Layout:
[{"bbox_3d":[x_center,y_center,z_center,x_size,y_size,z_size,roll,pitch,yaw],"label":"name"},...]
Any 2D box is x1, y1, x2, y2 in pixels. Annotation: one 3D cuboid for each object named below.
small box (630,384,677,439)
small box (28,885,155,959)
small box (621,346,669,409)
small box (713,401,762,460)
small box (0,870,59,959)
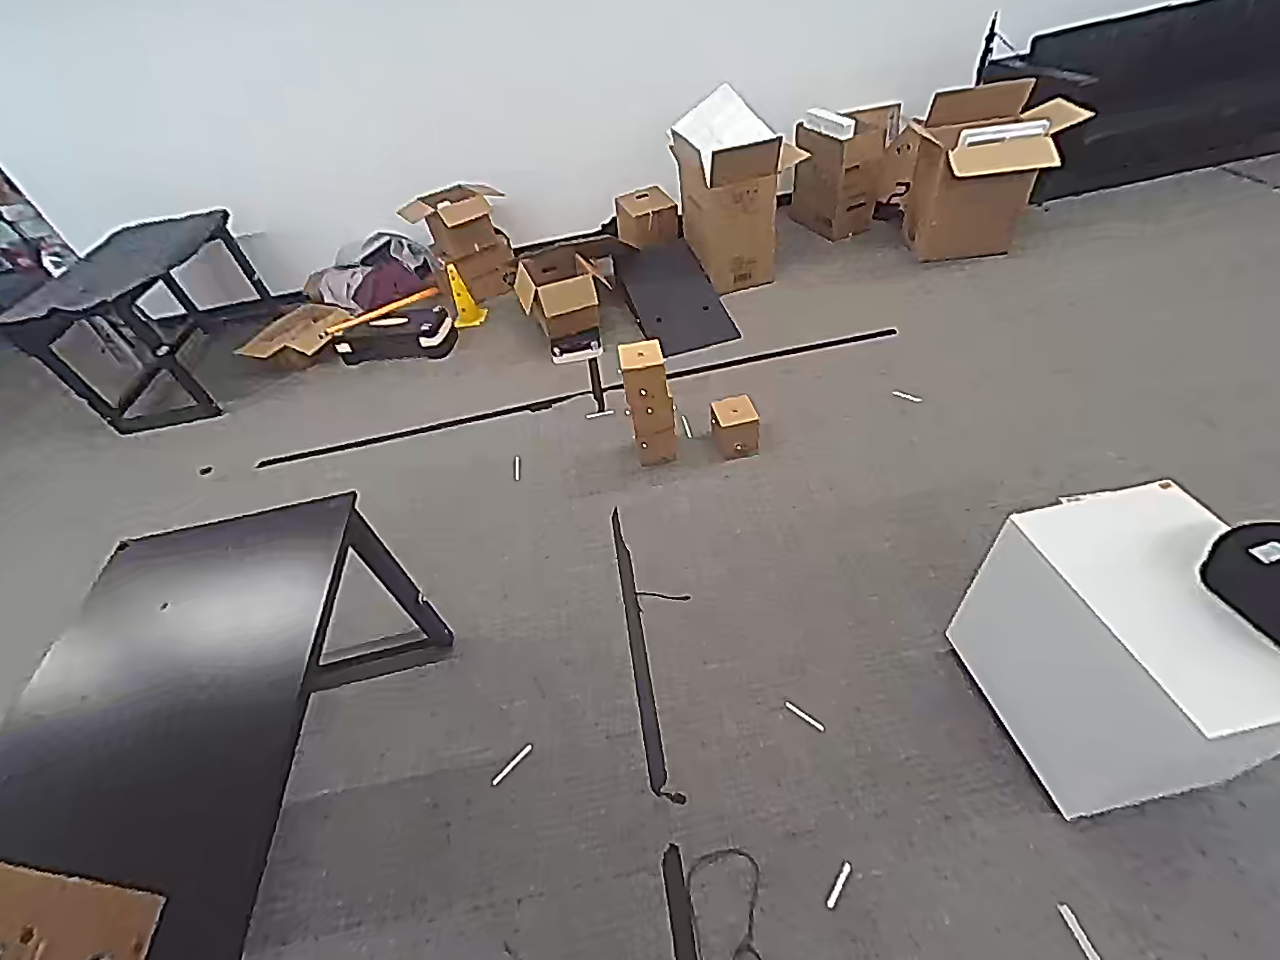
[{"bbox_3d":[0.051,-0.291,2.259,0.179,0.176,0.168,-11,44,-2],"label":"small box"},{"bbox_3d":[-0.781,0.640,0.679,0.179,0.176,0.168,-13,44,-3],"label":"small box"},{"bbox_3d":[0.020,-0.407,2.150,0.168,0.176,0.179,-10,45,0],"label":"small box"},{"bbox_3d":[0.422,-0.216,2.357,0.168,0.176,0.179,-13,46,-2],"label":"small box"},{"bbox_3d":[-0.804,0.524,0.564,0.179,0.176,0.168,-13,45,-2],"label":"small box"}]
